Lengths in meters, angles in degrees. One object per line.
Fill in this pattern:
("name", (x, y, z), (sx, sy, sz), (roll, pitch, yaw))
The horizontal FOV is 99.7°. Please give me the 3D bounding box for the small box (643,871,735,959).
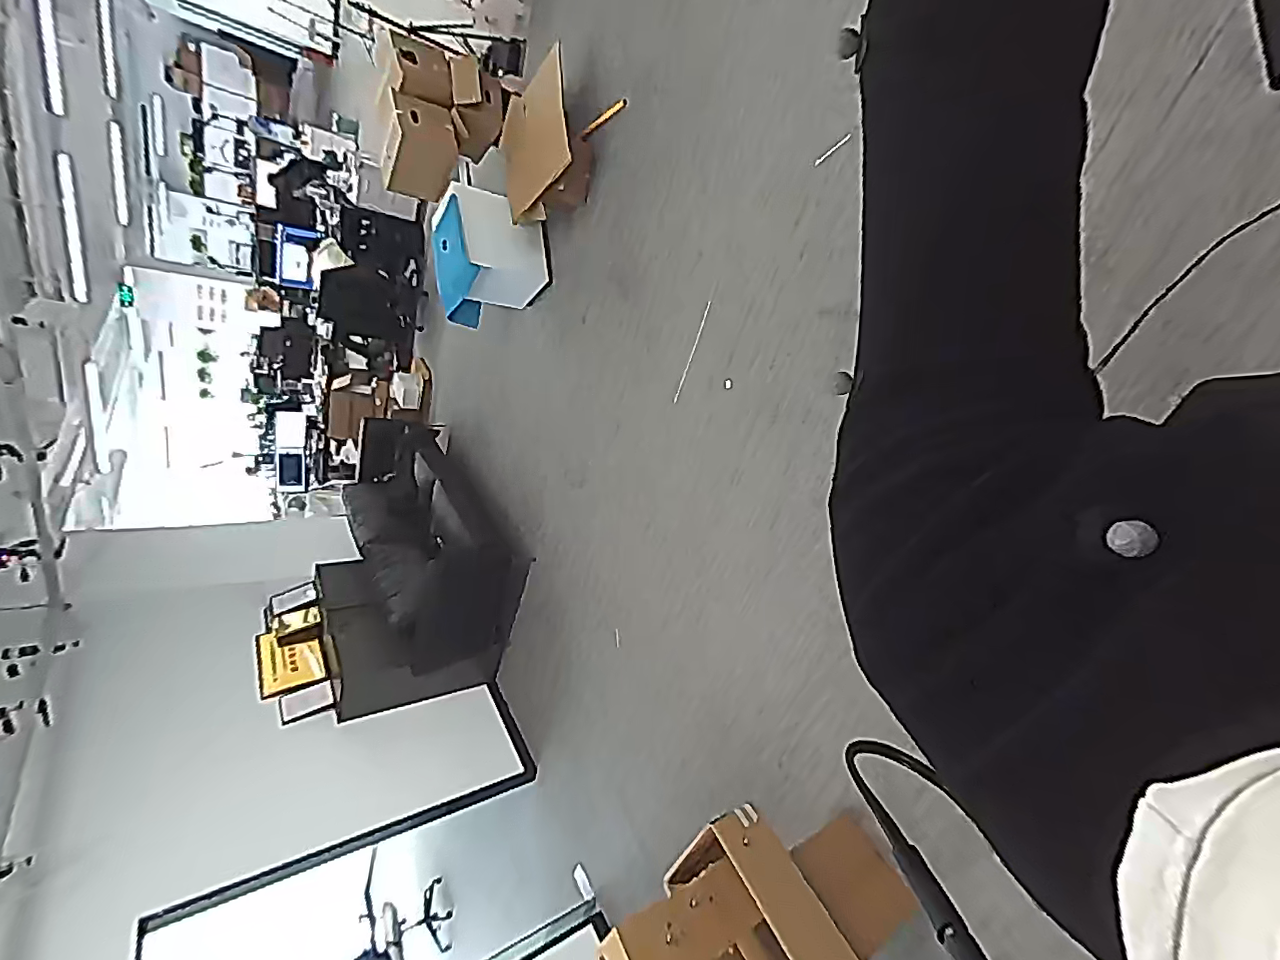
("small box", (0.142, 1.261, 1.535), (0.168, 0.176, 0.179), (51, 129, 39))
